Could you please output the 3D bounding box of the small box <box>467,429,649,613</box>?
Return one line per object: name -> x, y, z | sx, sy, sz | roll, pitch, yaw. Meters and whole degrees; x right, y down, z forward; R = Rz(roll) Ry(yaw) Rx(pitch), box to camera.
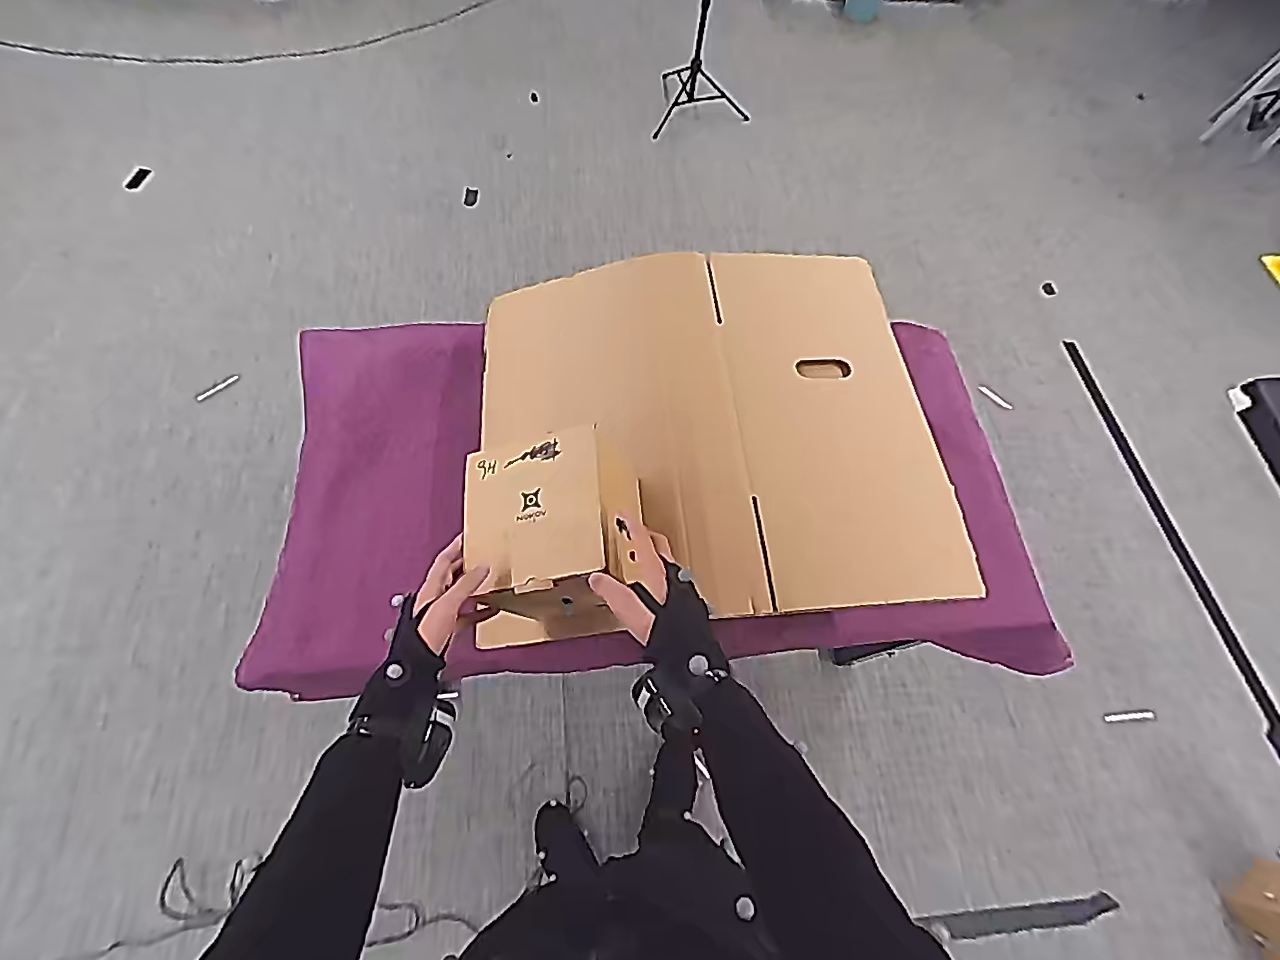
small box -> -0.094, 0.063, 0.669 | 0.168, 0.176, 0.179 | -12, 66, 13
